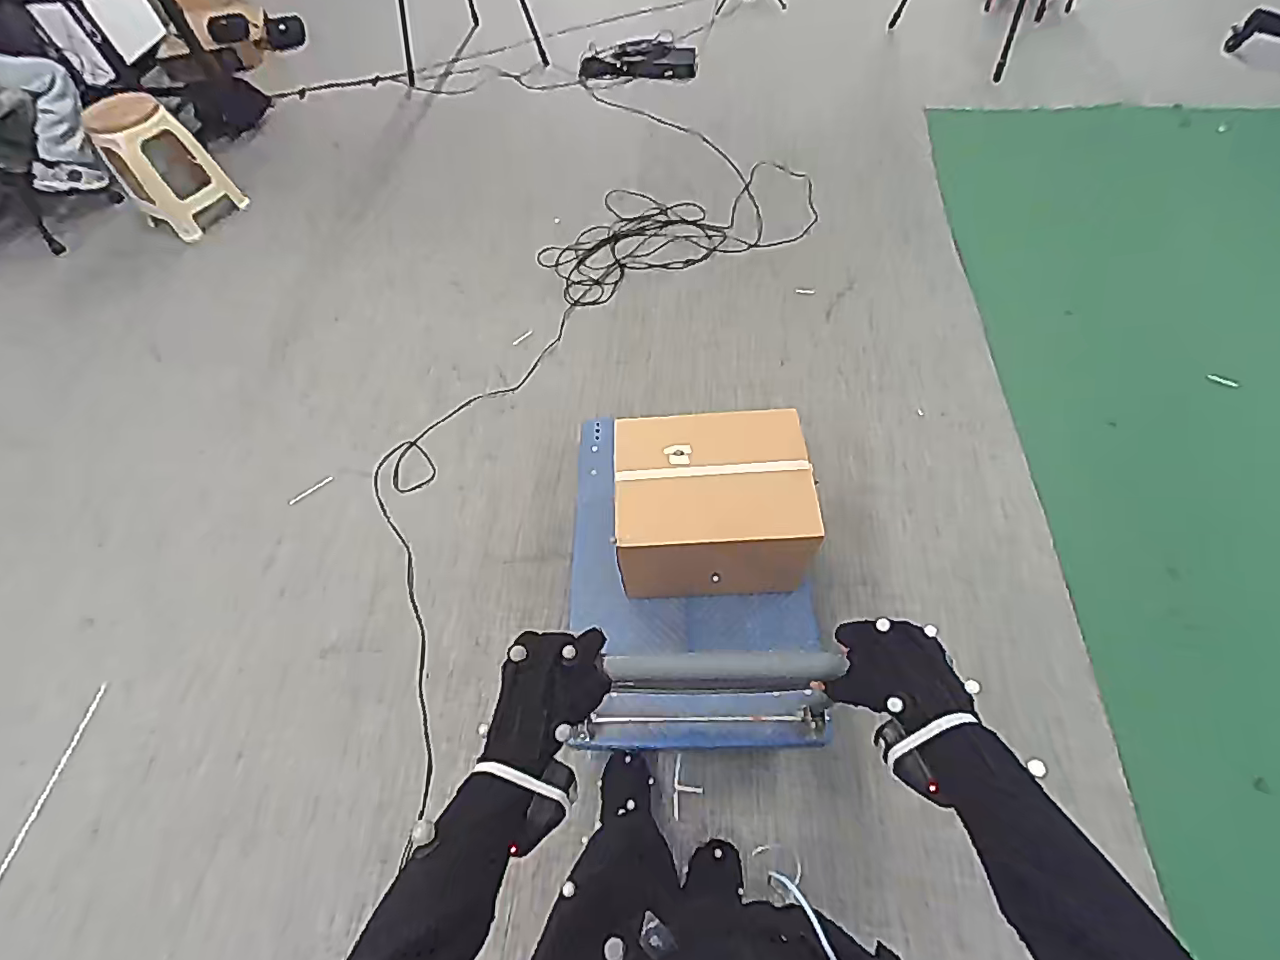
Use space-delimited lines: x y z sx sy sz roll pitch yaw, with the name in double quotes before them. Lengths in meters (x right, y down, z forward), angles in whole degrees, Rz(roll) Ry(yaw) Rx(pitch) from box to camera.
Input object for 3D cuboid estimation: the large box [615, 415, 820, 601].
"large box" 0.161 0.078 1.257 0.408 0.320 0.320 -4 57 3
